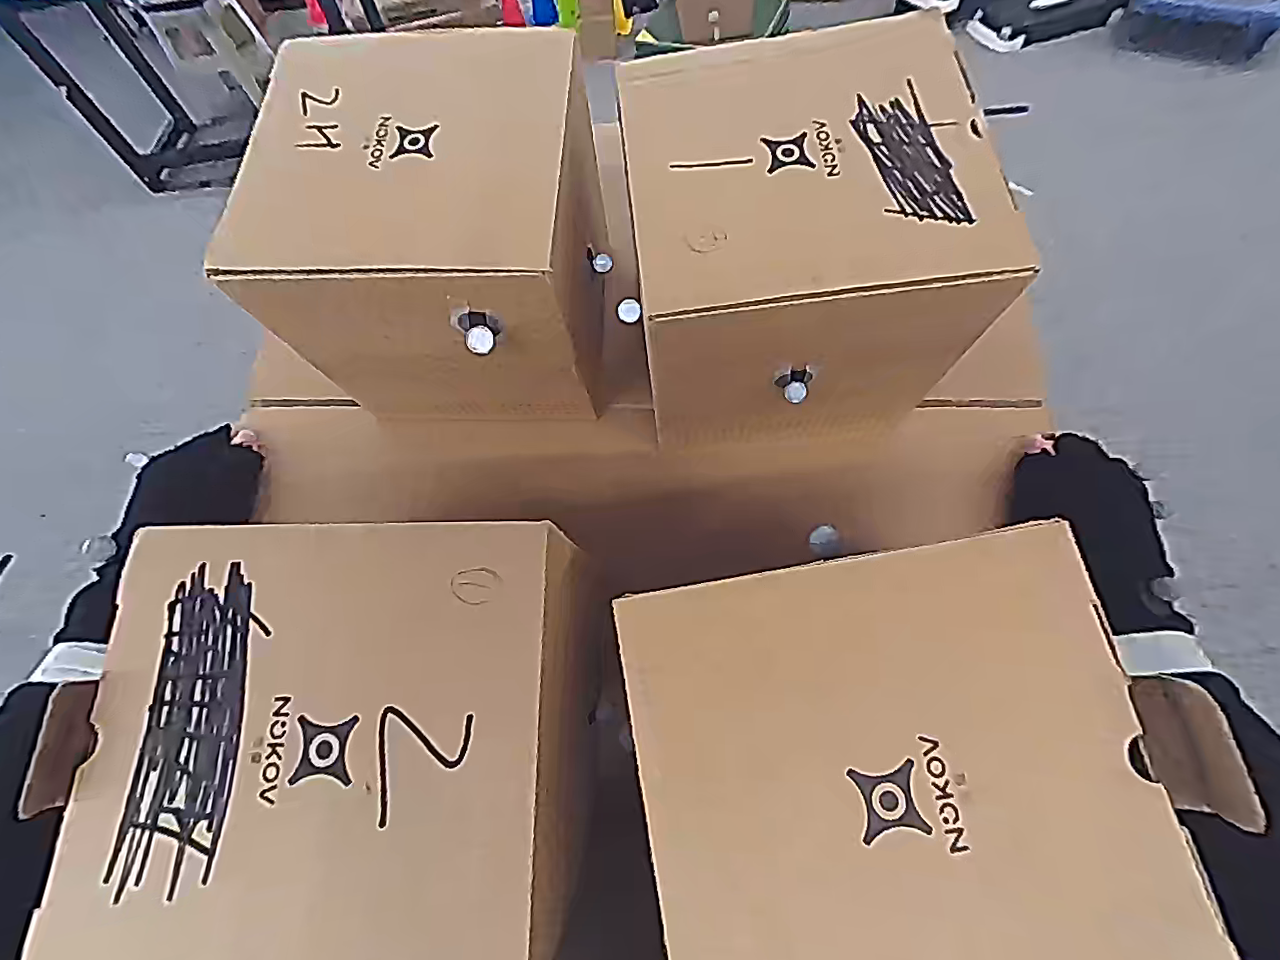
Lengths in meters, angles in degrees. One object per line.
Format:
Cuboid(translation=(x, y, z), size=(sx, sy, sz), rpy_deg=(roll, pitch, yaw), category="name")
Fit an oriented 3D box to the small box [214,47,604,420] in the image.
Cuboid(translation=(-0.123, -0.150, 0.371), size=(0.179, 0.176, 0.168), rpy_deg=(2, 71, 5), category="small box")
